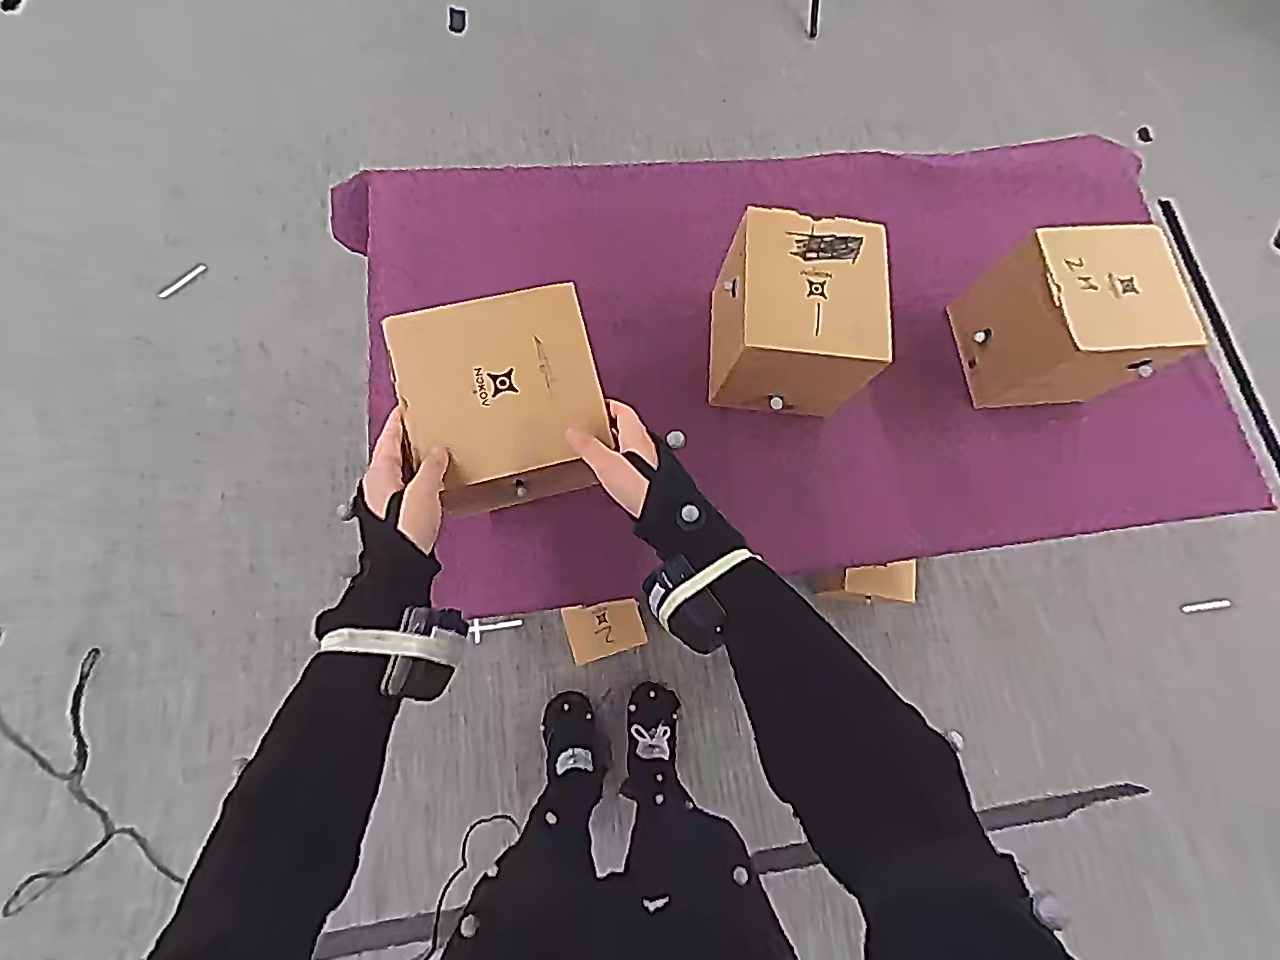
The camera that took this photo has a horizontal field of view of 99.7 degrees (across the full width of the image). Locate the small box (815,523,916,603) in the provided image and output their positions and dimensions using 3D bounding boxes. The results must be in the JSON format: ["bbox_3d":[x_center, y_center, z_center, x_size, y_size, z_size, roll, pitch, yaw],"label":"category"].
[{"bbox_3d":[0.563,0.212,1.361,0.179,0.176,0.168,10,75,-2],"label":"small box"}]

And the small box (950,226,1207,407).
[{"bbox_3d":[0.554,-0.206,0.709,0.179,0.176,0.168,-5,75,-6],"label":"small box"}]

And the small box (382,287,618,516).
[{"bbox_3d":[-0.130,-0.066,0.550,0.179,0.176,0.168,-15,83,-9],"label":"small box"}]

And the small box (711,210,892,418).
[{"bbox_3d":[0.186,-0.194,0.670,0.168,0.176,0.179,5,76,-4],"label":"small box"}]

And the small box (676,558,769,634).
[{"bbox_3d":[0.193,0.279,1.305,0.179,0.176,0.168,-2,76,-7],"label":"small box"}]
